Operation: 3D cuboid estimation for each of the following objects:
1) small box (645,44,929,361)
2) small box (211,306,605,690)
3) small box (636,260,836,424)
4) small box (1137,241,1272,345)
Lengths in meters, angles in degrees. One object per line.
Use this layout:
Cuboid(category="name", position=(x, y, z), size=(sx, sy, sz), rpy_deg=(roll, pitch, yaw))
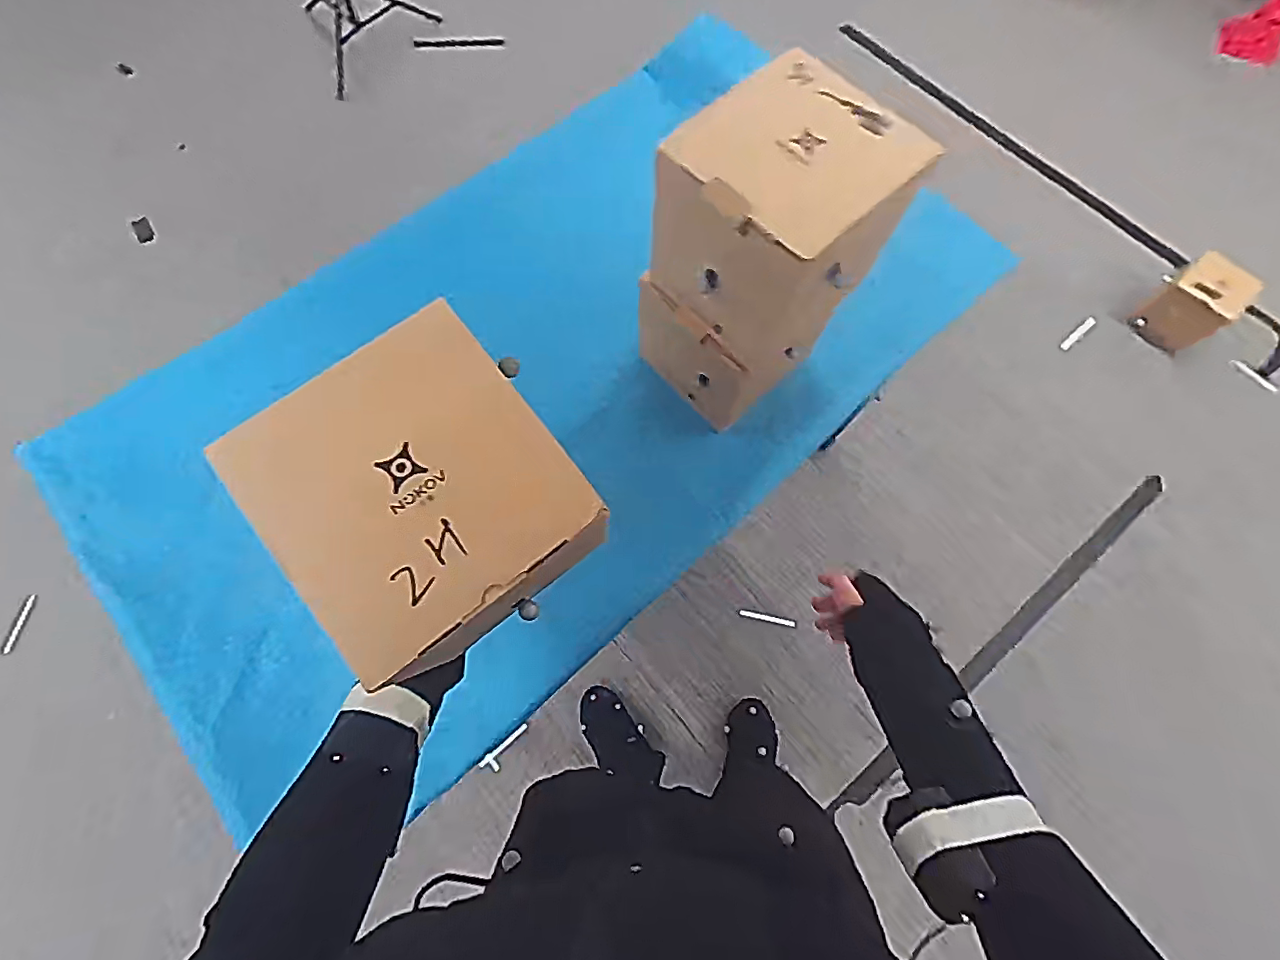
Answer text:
Cuboid(category="small box", position=(0.123, -0.248, 0.517), size=(0.168, 0.176, 0.179), rpy_deg=(43, 77, 13))
Cuboid(category="small box", position=(-0.140, 0.017, 0.394), size=(0.168, 0.176, 0.179), rpy_deg=(-34, 84, -8))
Cuboid(category="small box", position=(0.114, -0.200, 0.672), size=(0.179, 0.176, 0.168), rpy_deg=(-40, 77, -11))
Cuboid(category="small box", position=(1.558, -0.514, 1.509), size=(0.179, 0.176, 0.168), rpy_deg=(-41, 77, -12))
